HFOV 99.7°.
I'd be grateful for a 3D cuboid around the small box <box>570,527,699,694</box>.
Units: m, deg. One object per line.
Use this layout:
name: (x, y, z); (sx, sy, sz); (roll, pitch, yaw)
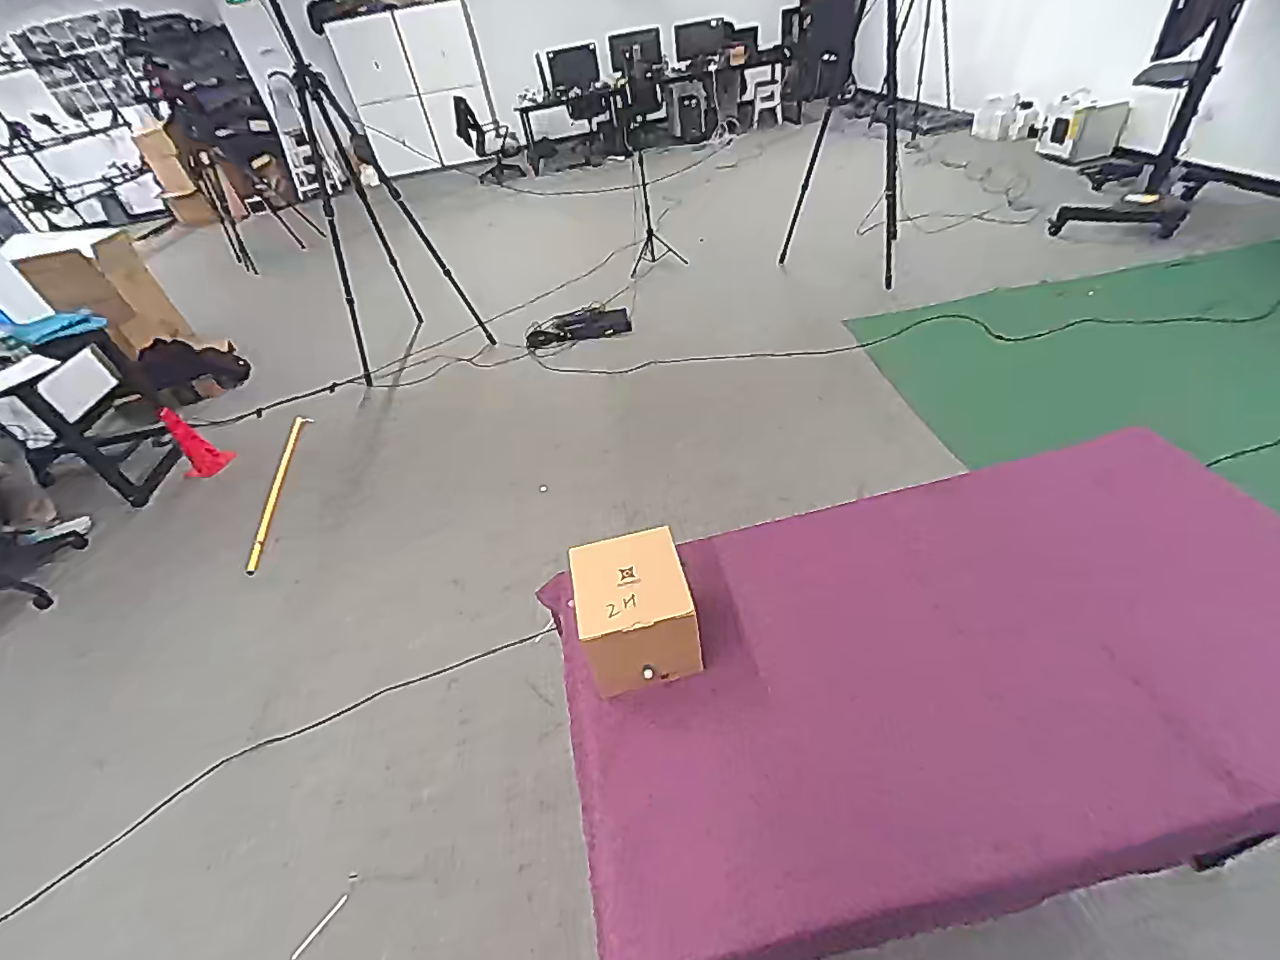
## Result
small box: (-0.009, 0.206, 0.859); (0.168, 0.176, 0.179); (-14, 41, -2)
